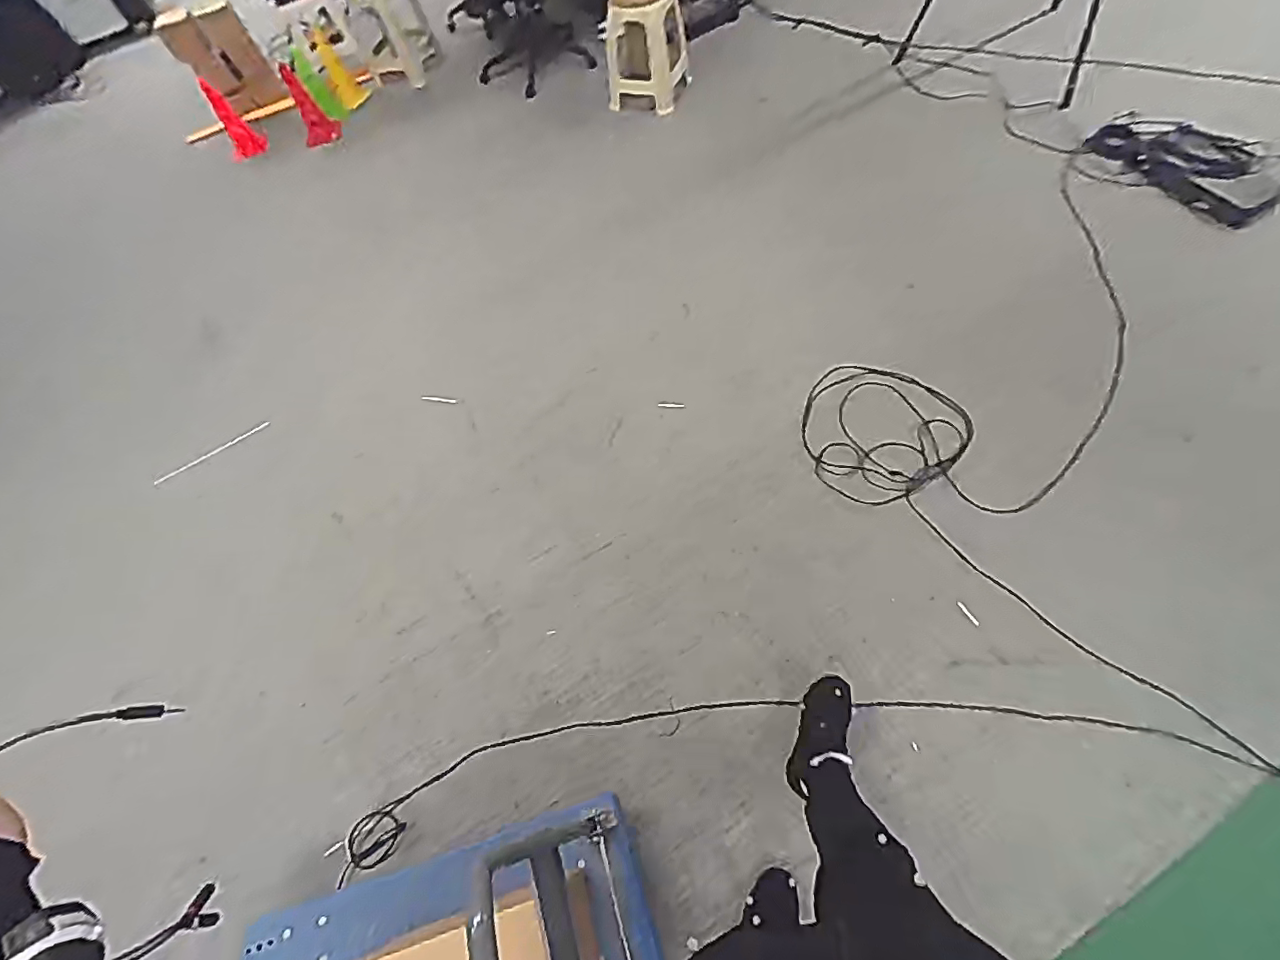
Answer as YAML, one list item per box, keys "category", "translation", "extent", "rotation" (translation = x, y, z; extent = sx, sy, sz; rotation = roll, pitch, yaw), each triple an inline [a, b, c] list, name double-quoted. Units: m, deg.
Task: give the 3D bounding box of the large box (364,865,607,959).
- category: "large box"
  translation: [-0.275, 0.946, 0.946]
  extent: [0.408, 0.320, 0.320]
  rotation: [-21, 61, -1]
